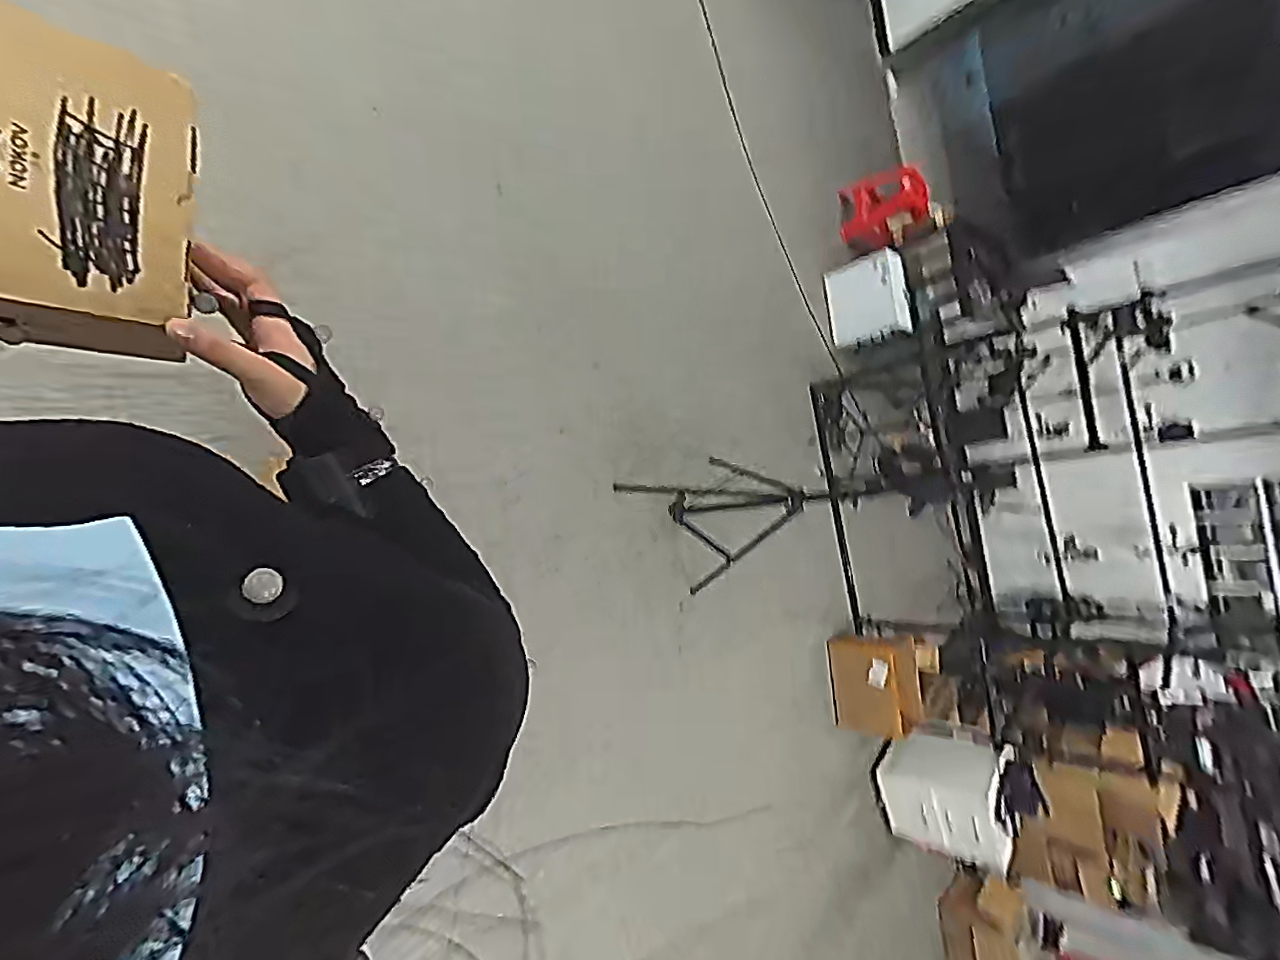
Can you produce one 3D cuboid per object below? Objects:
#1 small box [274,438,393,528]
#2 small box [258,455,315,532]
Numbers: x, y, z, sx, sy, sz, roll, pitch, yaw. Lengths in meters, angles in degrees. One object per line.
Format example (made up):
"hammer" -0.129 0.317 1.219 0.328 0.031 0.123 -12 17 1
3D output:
"small box" -0.666 0.007 1.172 0.179 0.176 0.168 -11 90 -43
"small box" -0.784 0.025 1.283 0.179 0.176 0.168 -14 93 -44
